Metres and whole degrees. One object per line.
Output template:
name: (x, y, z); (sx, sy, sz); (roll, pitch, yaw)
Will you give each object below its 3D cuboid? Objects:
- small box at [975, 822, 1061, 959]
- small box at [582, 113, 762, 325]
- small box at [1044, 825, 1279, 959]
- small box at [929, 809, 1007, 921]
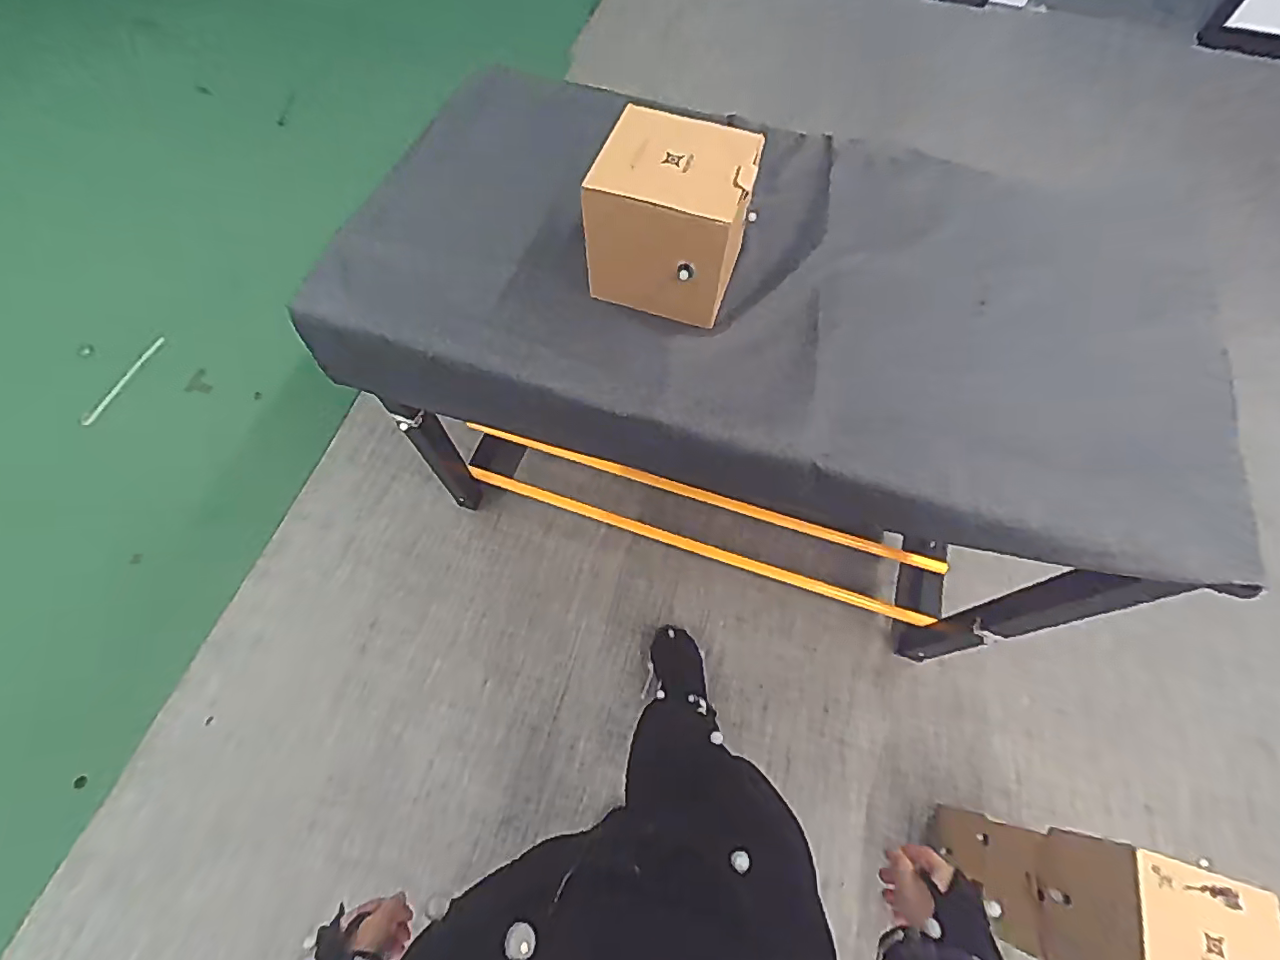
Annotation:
small box: (0.664, 0.665, 0.859); (0.179, 0.176, 0.168); (16, 65, 6)
small box: (0.040, -0.327, 0.699); (0.179, 0.176, 0.168); (16, 64, 7)
small box: (0.673, 0.590, 0.713); (0.168, 0.176, 0.179); (17, 66, 7)
small box: (0.674, 0.736, 1.007); (0.179, 0.176, 0.168); (18, 64, 7)
